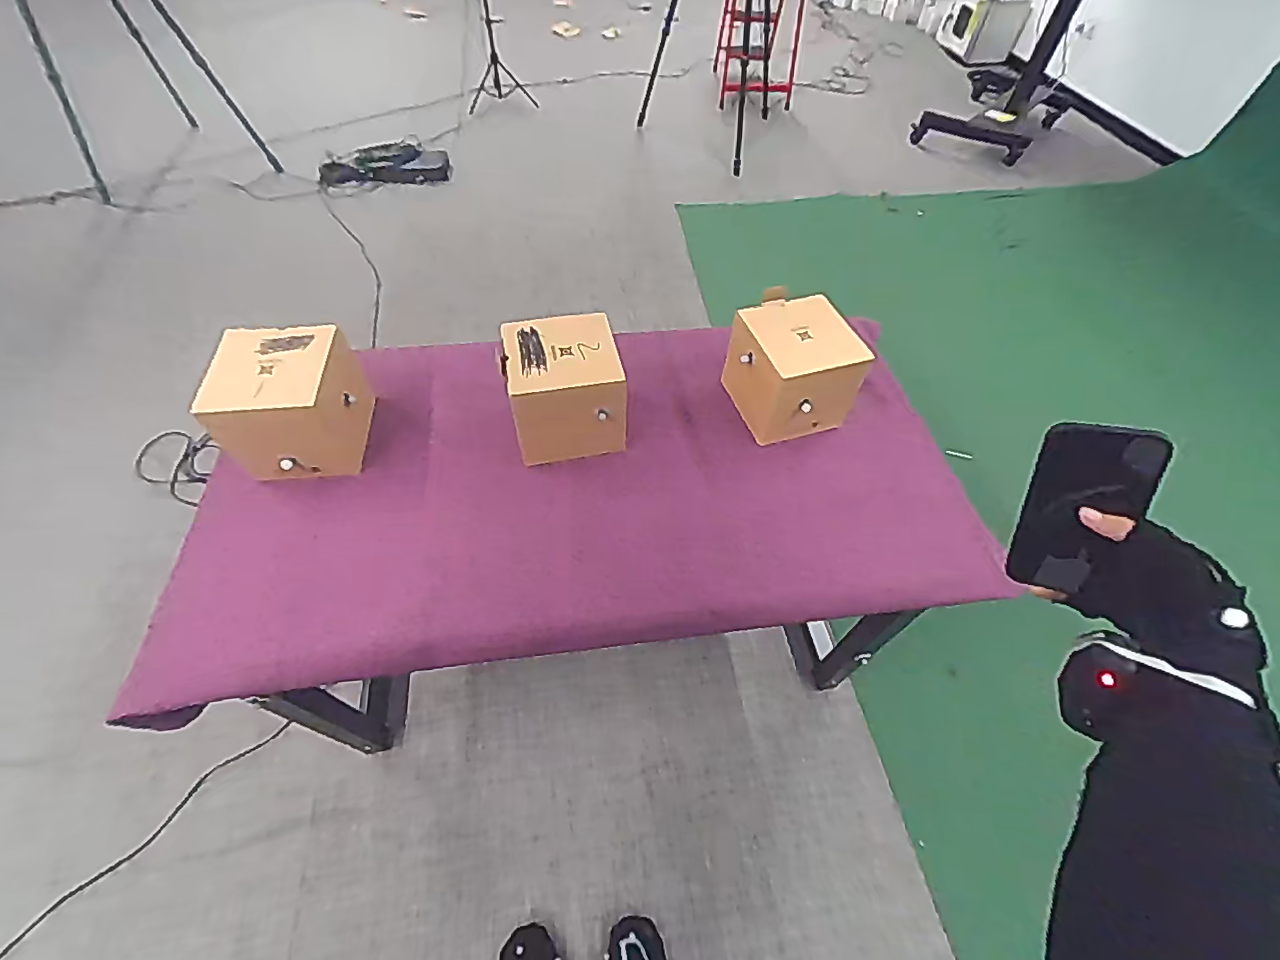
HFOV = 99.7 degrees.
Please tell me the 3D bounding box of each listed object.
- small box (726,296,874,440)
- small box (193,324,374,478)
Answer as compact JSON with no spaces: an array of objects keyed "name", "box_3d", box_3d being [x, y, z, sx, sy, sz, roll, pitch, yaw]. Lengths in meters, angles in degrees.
[{"name":"small box","box_3d":[0.264,-0.187,0.940,0.168,0.176,0.179,-14,56,-11]},{"name":"small box","box_3d":[-0.543,-0.123,0.857,0.168,0.176,0.179,-4,56,-5]}]
